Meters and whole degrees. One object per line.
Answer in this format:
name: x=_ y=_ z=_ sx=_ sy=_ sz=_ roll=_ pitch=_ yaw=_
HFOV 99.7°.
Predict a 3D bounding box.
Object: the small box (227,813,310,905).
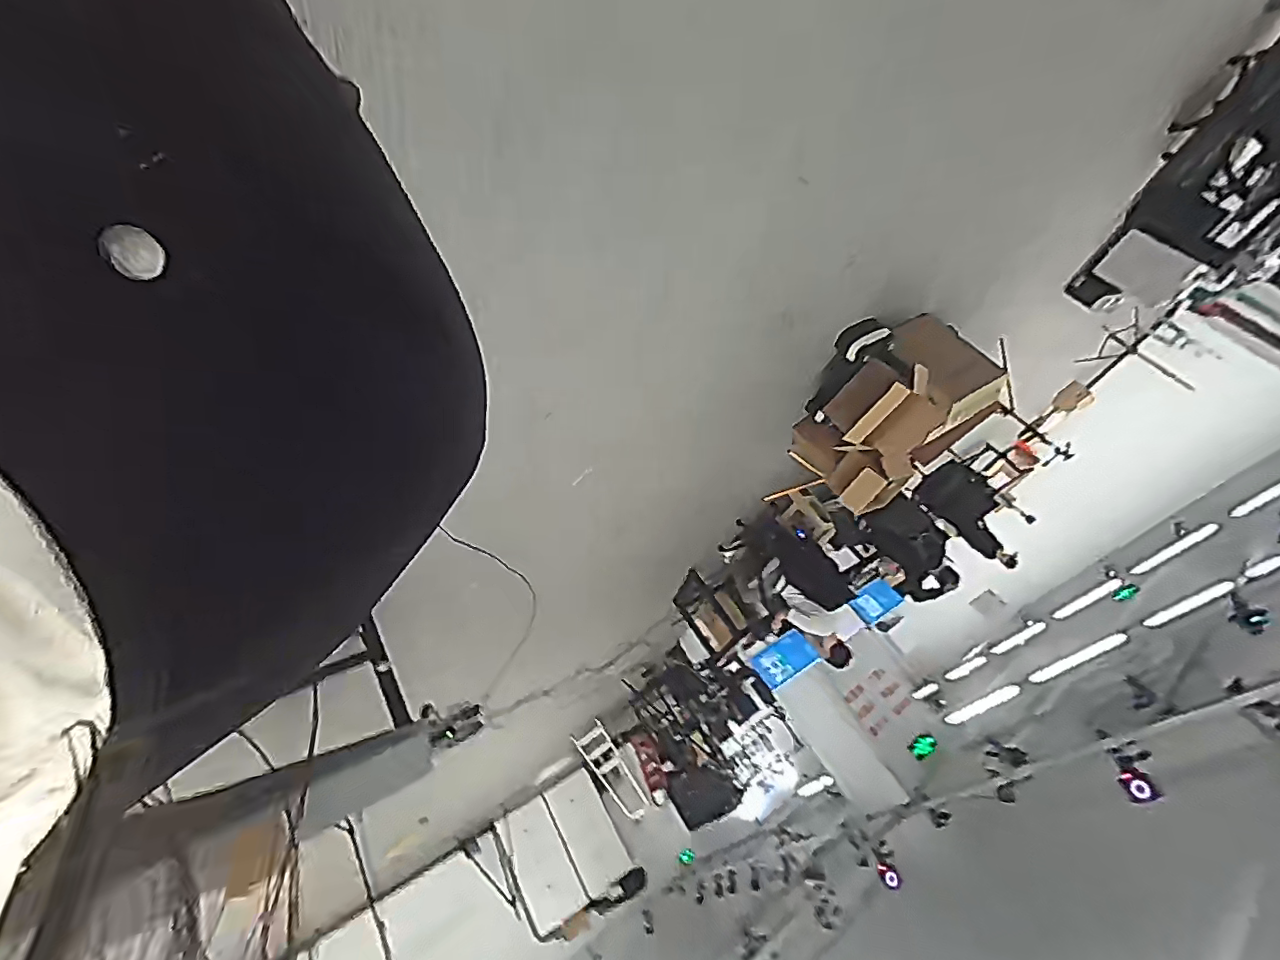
small box: x=-1.188 y=1.206 z=1.724 sx=0.179 sy=0.176 sz=0.168 roll=-20 pitch=150 yaw=-31
